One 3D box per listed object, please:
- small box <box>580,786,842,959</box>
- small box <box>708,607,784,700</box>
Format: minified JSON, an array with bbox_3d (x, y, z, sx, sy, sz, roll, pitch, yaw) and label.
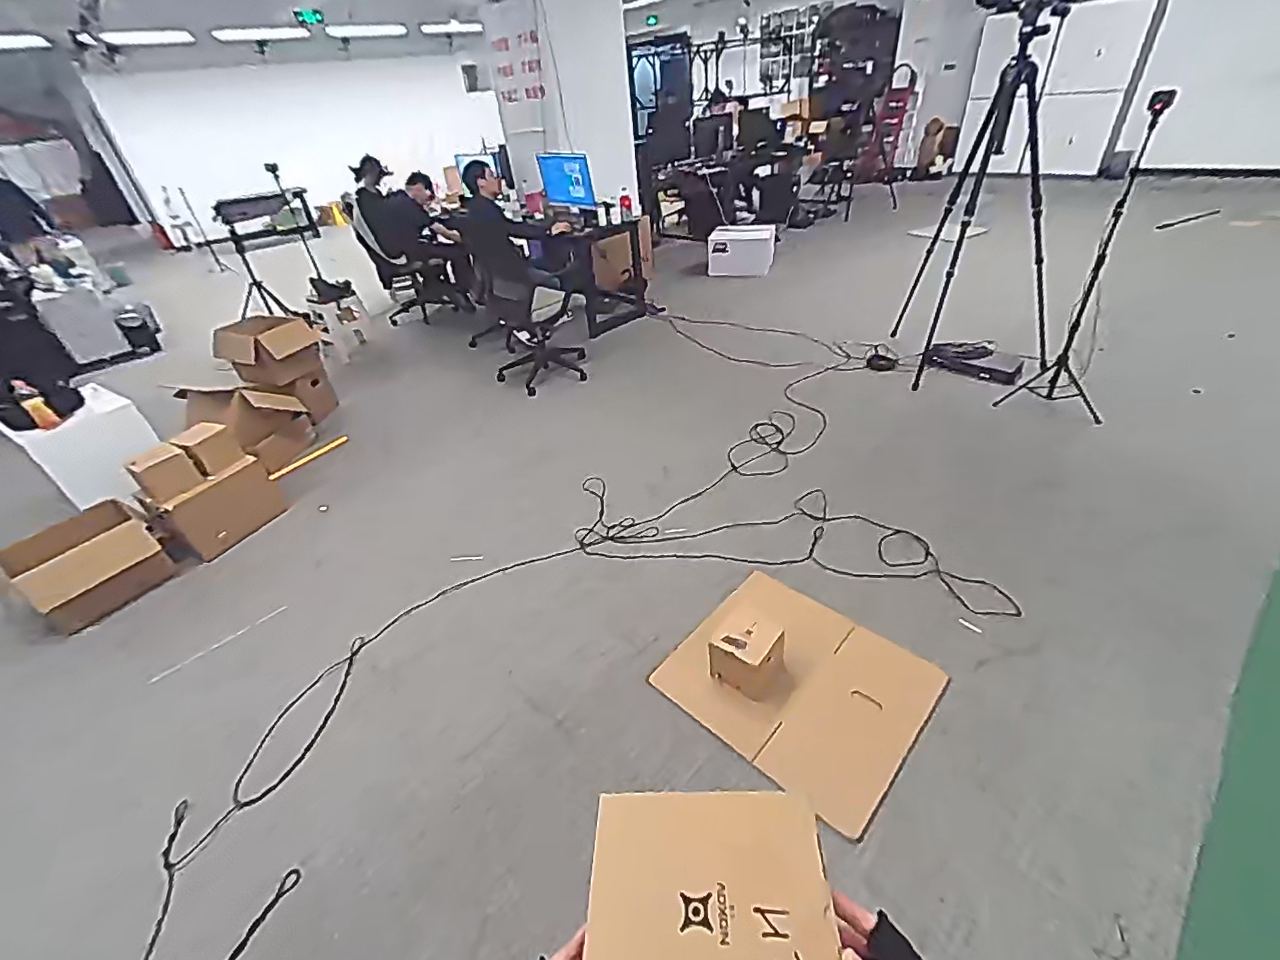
[{"bbox_3d":[0.057,0.367,0.424,0.179,0.176,0.168,-4,34,7],"label":"small box"},{"bbox_3d":[0.326,0.532,1.650,0.168,0.176,0.179,21,44,35],"label":"small box"}]
